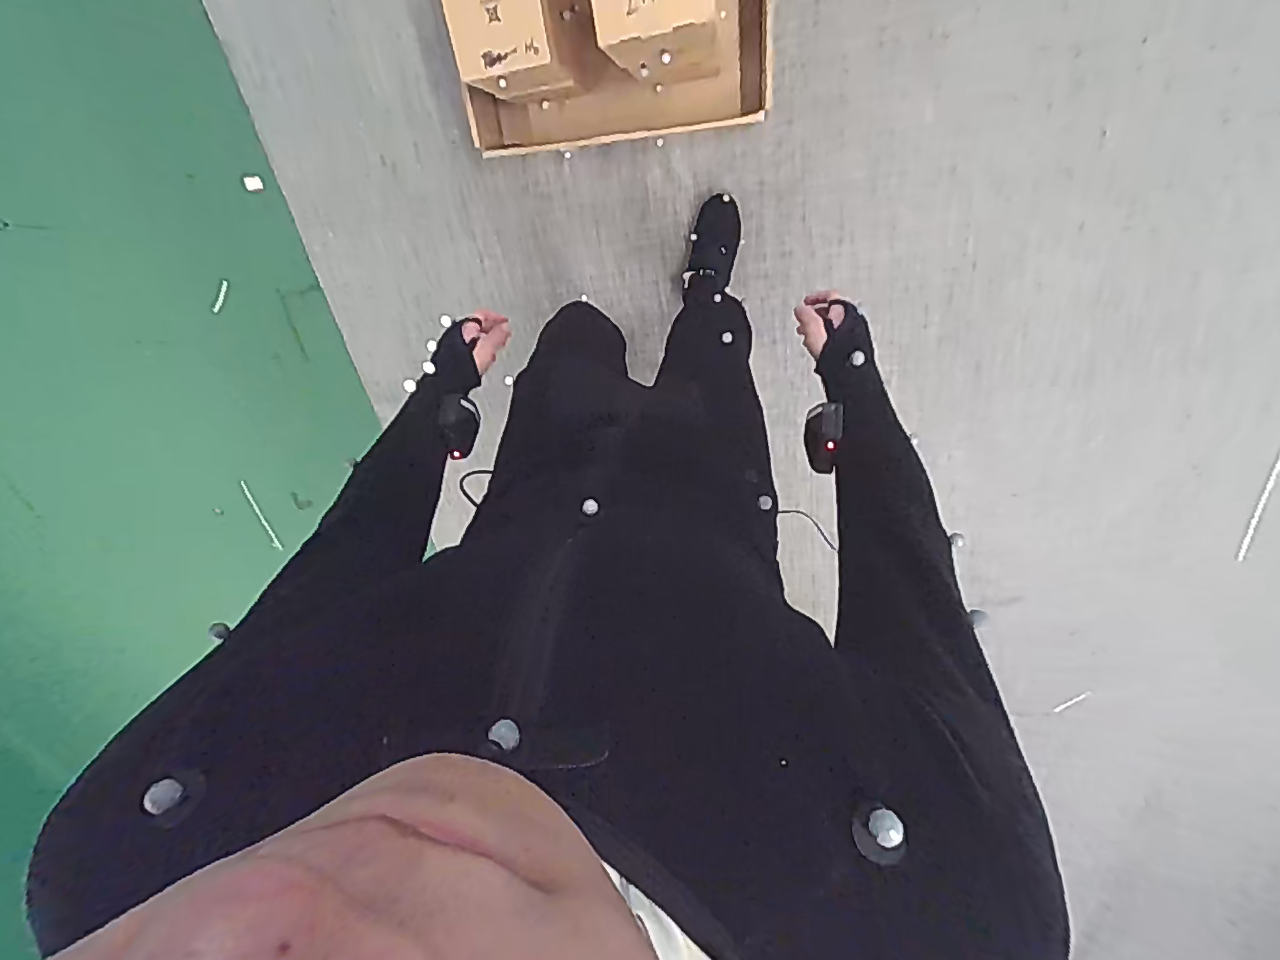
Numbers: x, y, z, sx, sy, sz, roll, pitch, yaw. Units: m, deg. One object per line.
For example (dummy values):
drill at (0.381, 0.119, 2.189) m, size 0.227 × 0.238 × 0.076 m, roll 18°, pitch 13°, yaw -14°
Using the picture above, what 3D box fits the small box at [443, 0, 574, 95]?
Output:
small box at (-0.225, -0.800, 0.939) m, size 0.168 × 0.176 × 0.179 m, roll -2°, pitch 117°, yaw 12°

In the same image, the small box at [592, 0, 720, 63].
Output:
small box at (0.021, -0.717, 0.752) m, size 0.168 × 0.176 × 0.179 m, roll -3°, pitch 118°, yaw 13°
